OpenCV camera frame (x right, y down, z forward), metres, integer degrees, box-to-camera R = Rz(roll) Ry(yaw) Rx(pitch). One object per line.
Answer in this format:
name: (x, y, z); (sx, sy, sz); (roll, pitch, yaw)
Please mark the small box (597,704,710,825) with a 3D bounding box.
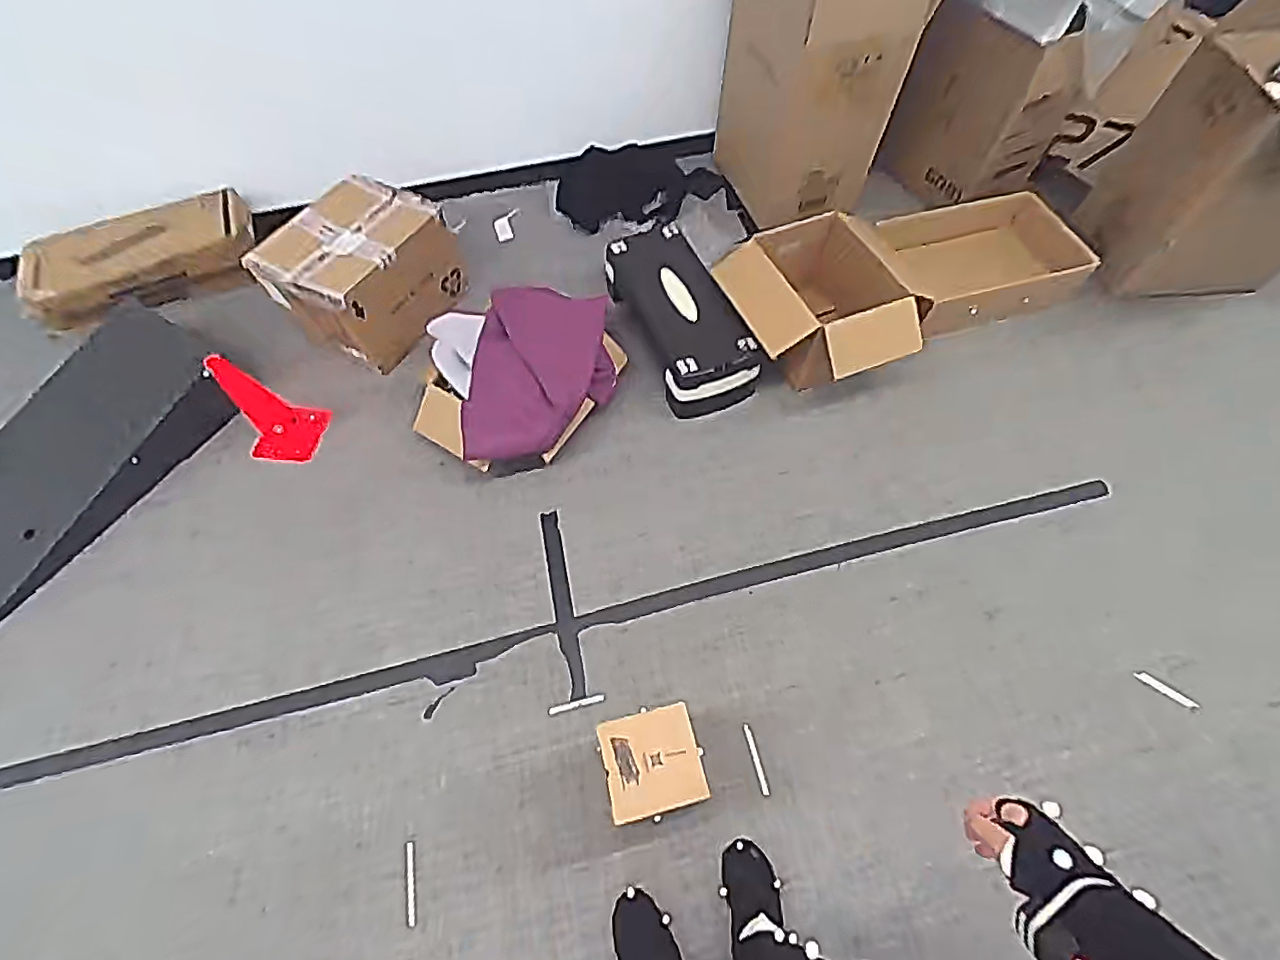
small box: (0.024, 0.549, 1.046); (0.179, 0.176, 0.168); (-13, 62, -6)
